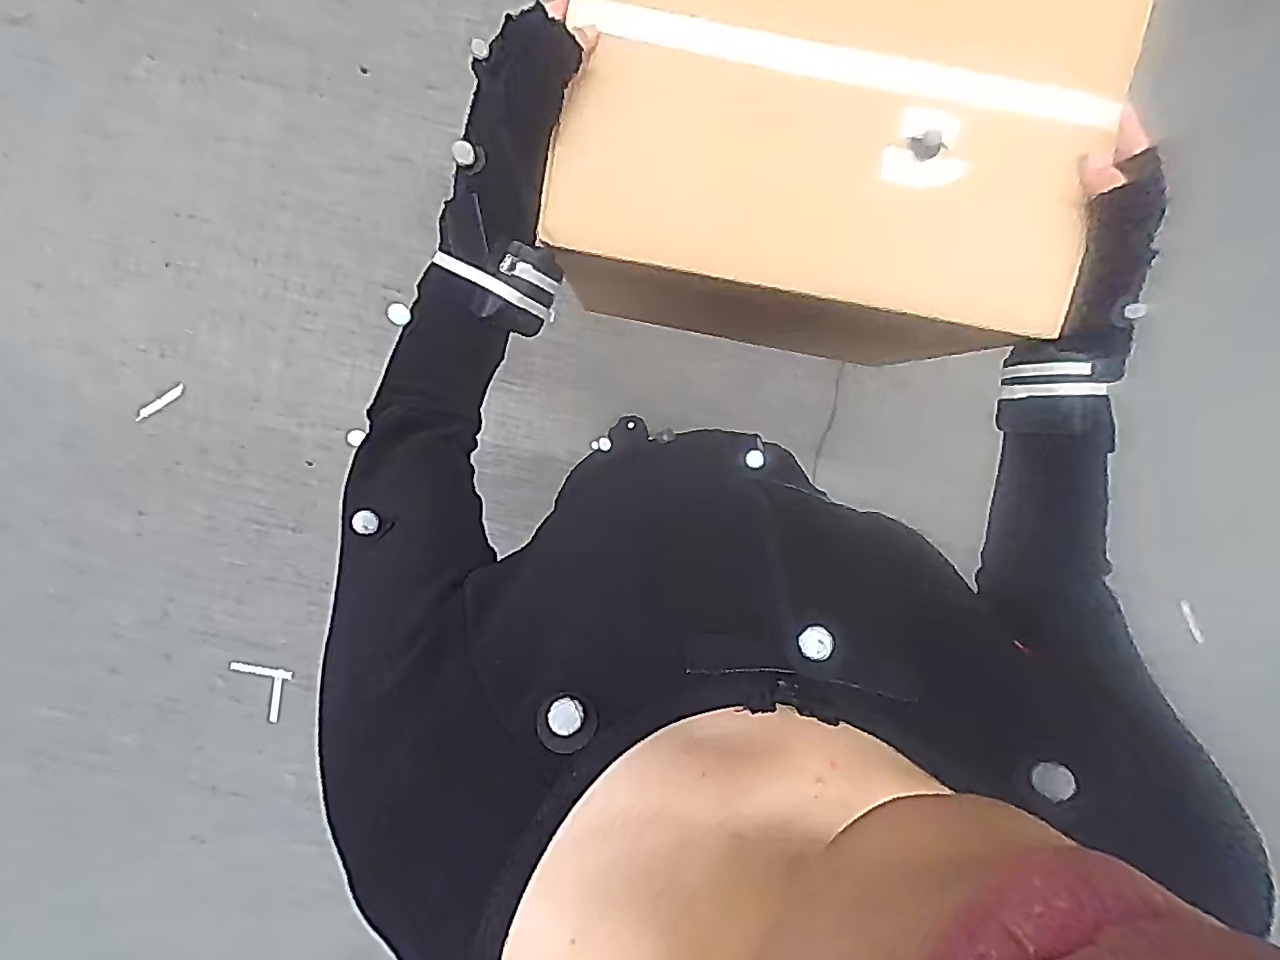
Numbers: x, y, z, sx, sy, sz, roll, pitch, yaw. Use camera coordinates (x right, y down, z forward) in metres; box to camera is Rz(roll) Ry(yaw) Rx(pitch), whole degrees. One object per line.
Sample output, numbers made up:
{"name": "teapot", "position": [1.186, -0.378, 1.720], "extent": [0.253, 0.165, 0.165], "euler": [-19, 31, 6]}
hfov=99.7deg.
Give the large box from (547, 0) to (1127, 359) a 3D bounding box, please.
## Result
{"name": "large box", "position": [0.144, -0.322, 0.548], "extent": [0.408, 0.320, 0.320], "euler": [10, 98, -1]}
